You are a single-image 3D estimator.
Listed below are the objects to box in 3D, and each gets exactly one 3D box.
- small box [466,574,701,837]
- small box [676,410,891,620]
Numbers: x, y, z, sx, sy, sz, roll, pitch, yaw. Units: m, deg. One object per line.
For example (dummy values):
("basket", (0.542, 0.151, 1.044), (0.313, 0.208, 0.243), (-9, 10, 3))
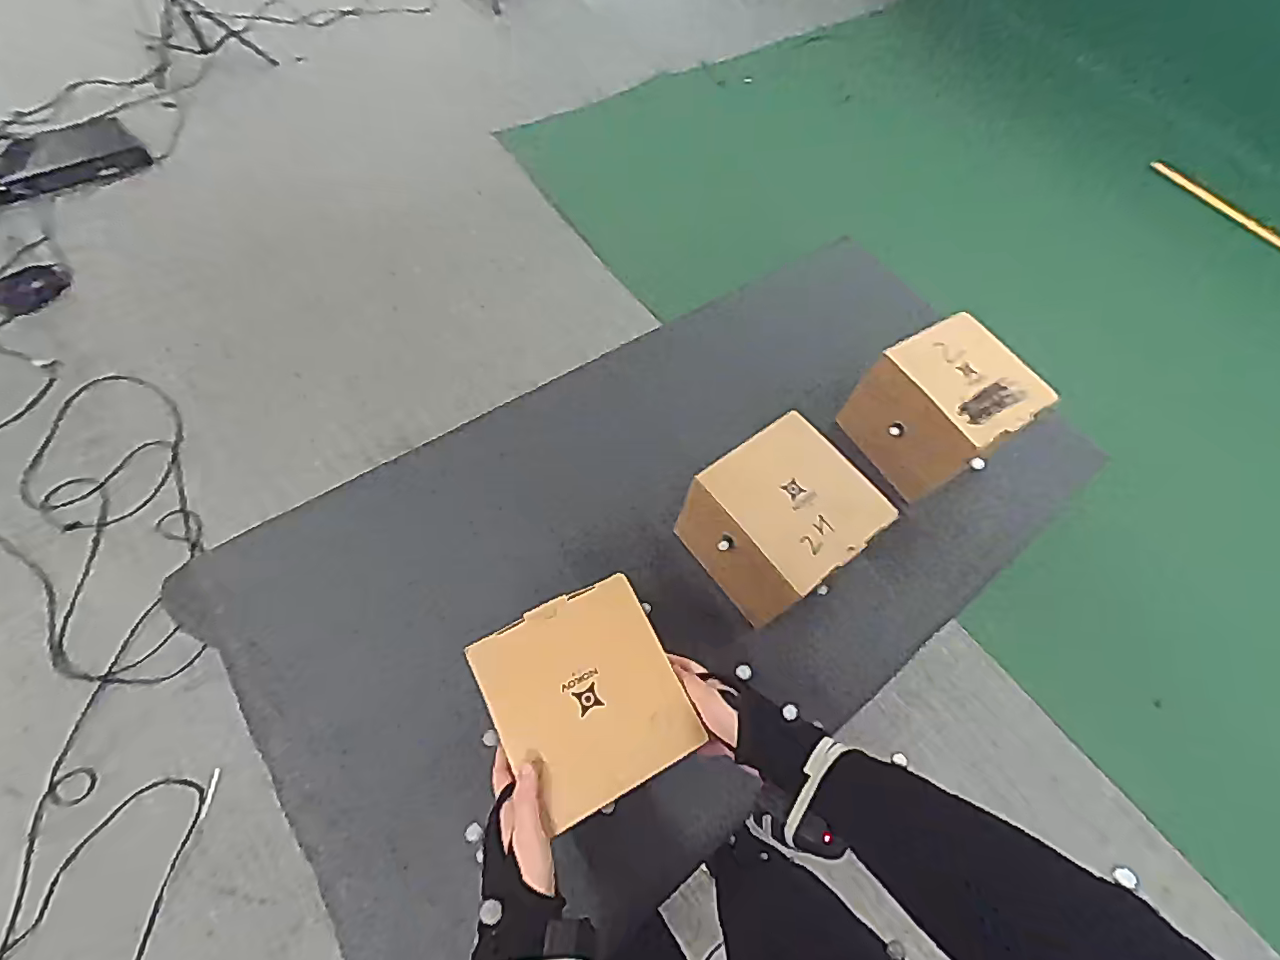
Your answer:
("small box", (-0.059, 0.225, 0.564), (0.168, 0.176, 0.179), (-23, 70, -16))
("small box", (0.165, 0.051, 0.687), (0.168, 0.176, 0.179), (-33, 71, -20))
